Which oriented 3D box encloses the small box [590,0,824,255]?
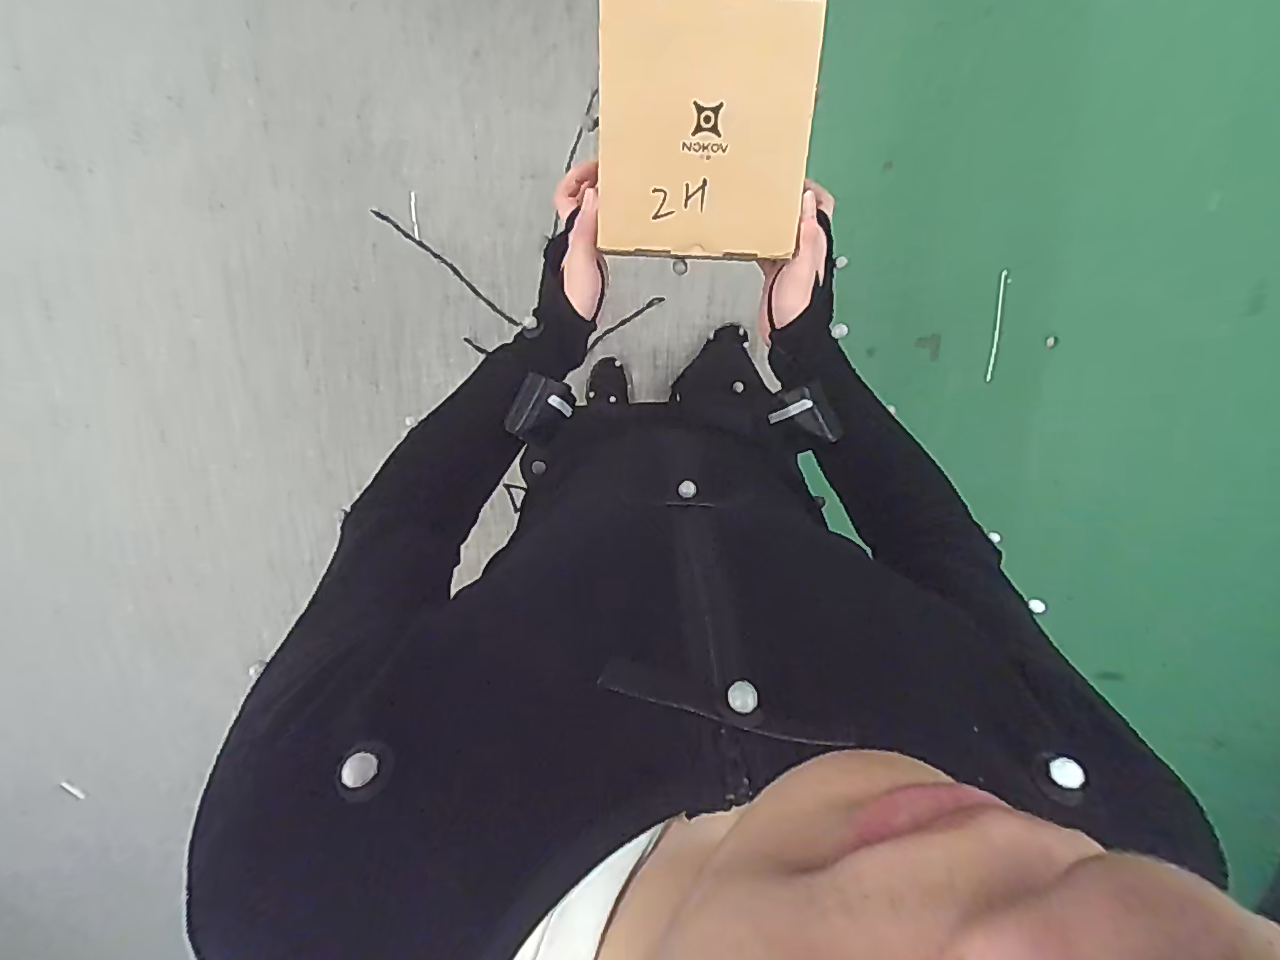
[{"bbox_3d":[0.042,-0.300,0.478,0.168,0.176,0.179,2,112,-2],"label":"small box"}]
